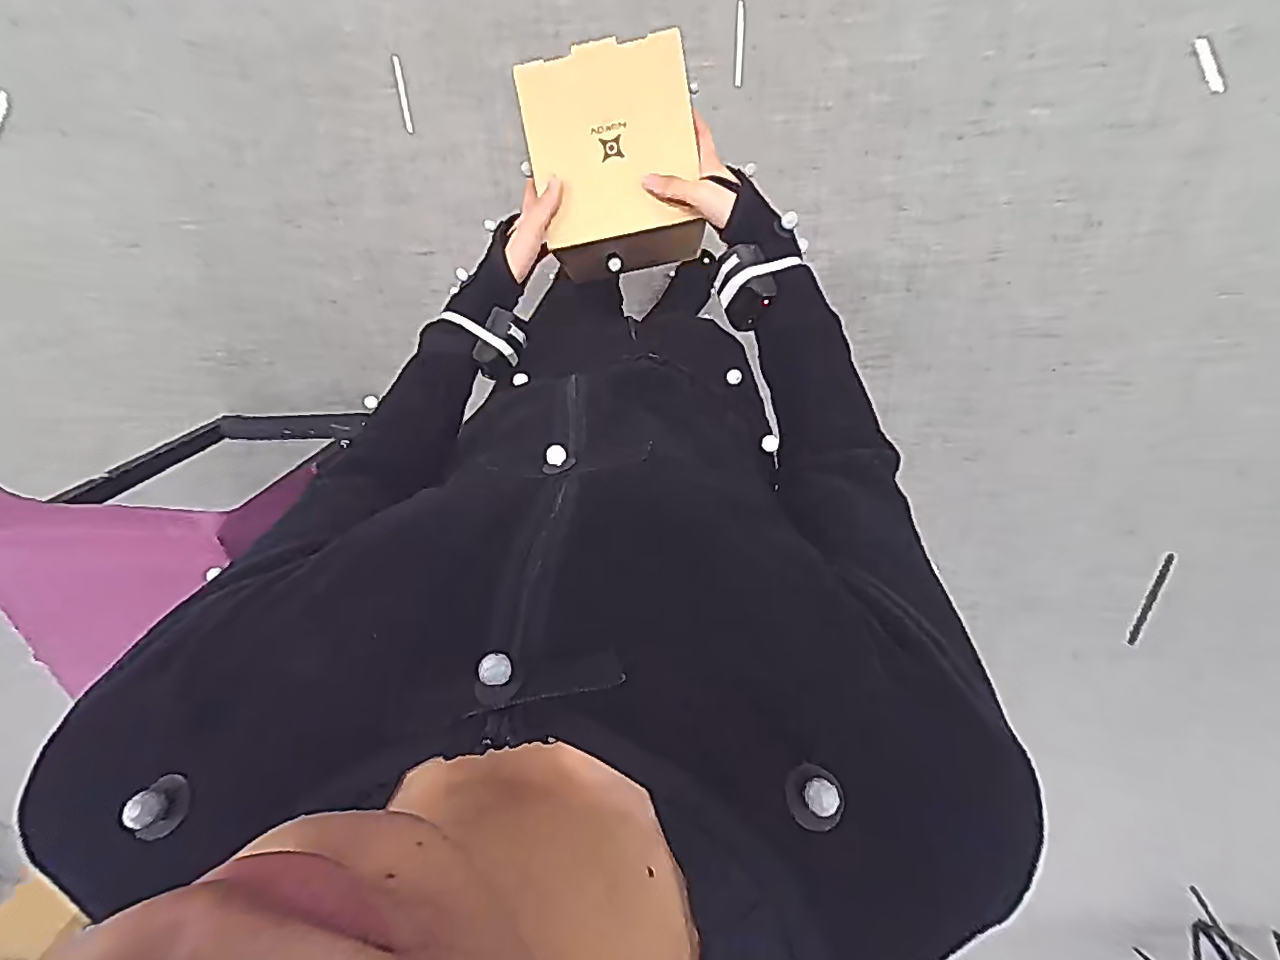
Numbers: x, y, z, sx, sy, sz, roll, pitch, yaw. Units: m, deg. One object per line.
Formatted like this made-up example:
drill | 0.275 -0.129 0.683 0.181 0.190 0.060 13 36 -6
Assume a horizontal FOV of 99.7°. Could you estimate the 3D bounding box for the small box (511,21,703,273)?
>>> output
small box | -0.024 -0.342 0.600 0.168 0.176 0.179 -10 97 5
